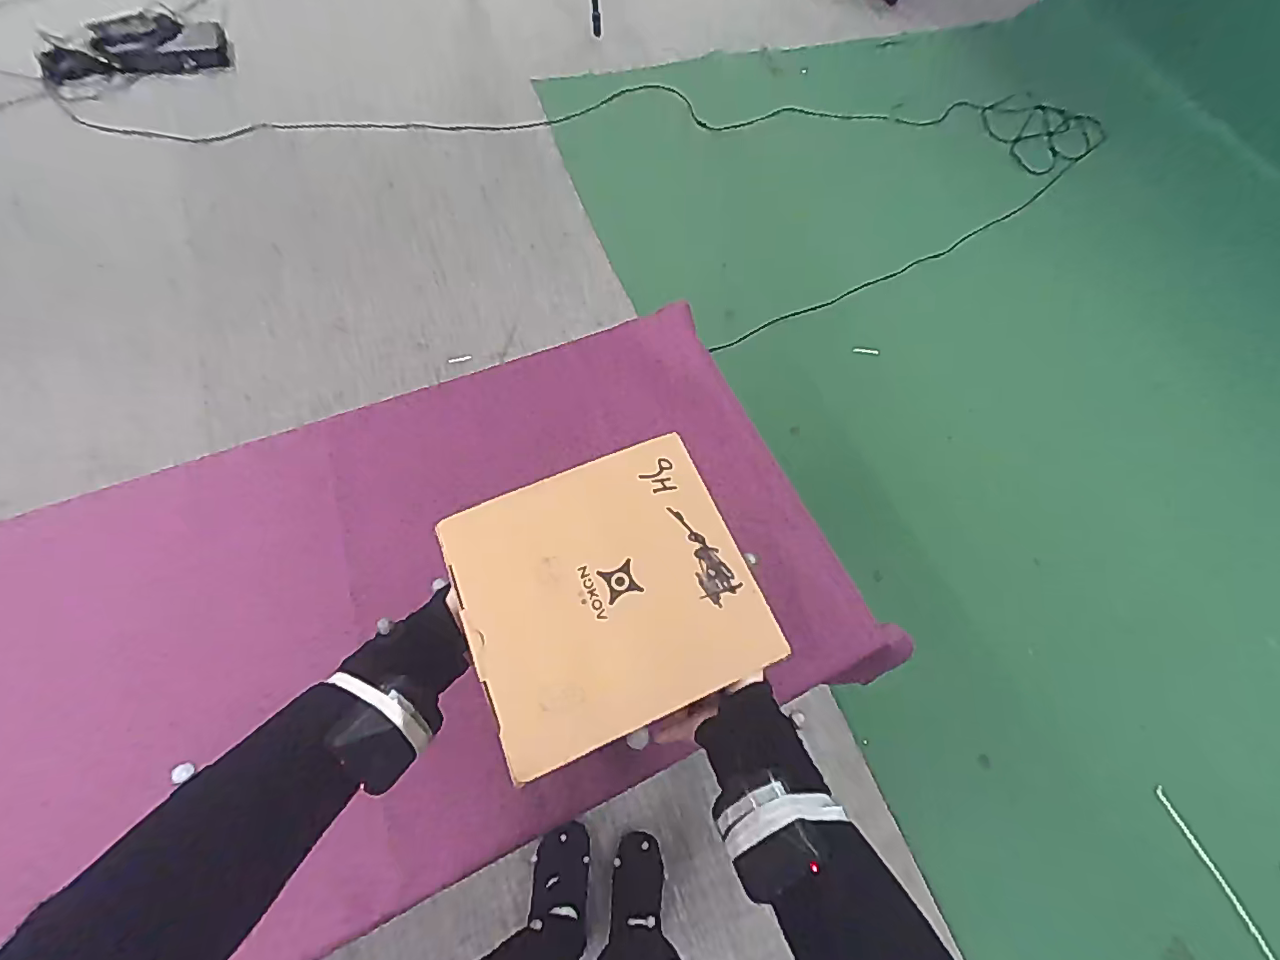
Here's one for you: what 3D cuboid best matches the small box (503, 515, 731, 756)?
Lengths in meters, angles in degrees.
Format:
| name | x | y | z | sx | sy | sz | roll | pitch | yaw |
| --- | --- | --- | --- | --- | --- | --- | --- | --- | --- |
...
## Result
| name | x | y | z | sx | sy | sz | roll | pitch | yaw |
| --- | --- | --- | --- | --- | --- | --- | --- | --- | --- |
| small box | -0.028 | 0.166 | 0.569 | 0.168 | 0.176 | 0.179 | -21 | 68 | -10 |
